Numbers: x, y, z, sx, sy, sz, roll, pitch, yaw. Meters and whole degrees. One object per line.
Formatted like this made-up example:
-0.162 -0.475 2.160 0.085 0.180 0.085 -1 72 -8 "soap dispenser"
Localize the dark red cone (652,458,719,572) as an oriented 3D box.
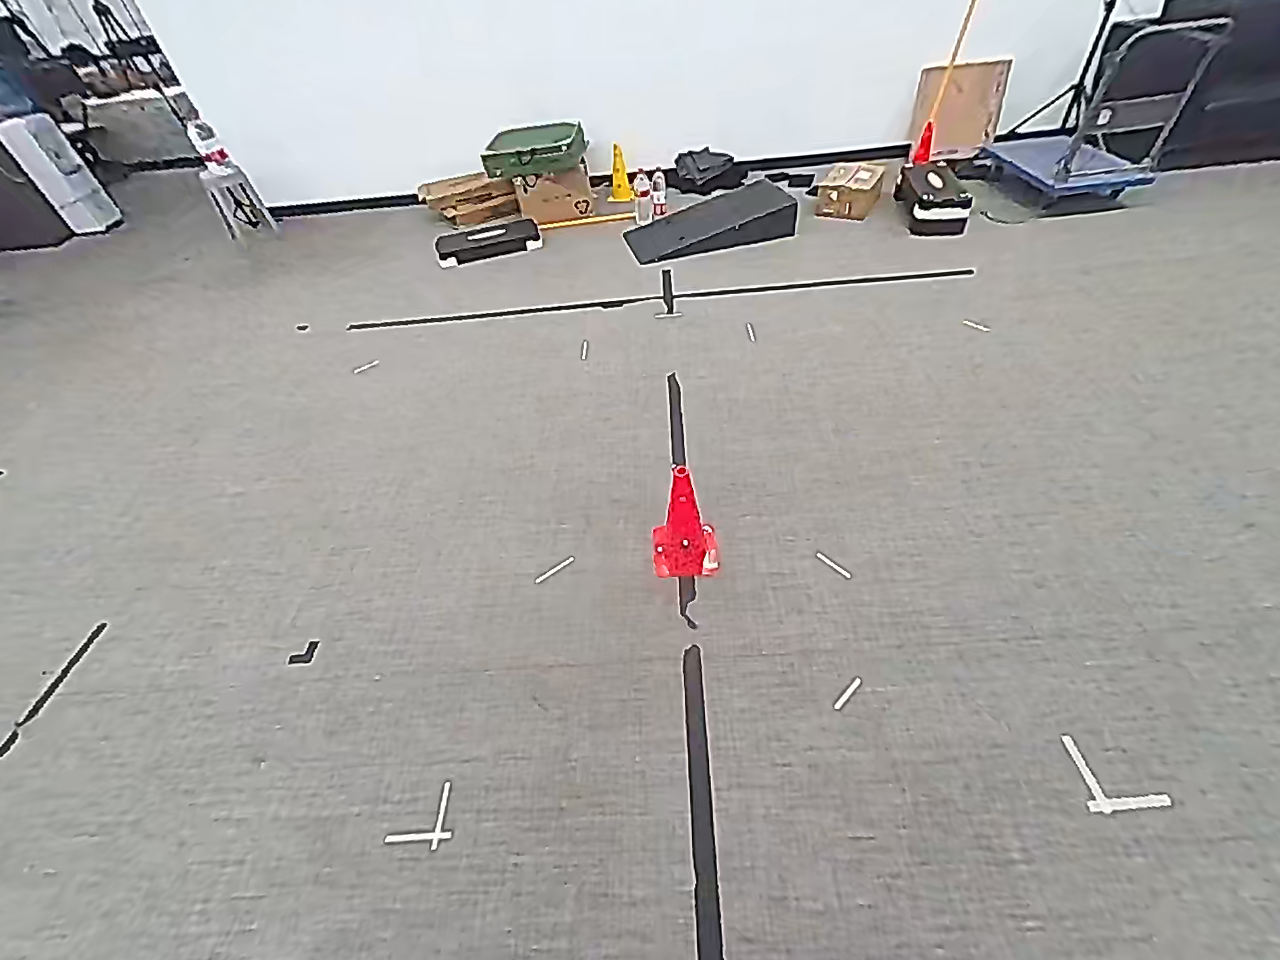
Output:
0.123 0.087 1.578 0.201 0.394 0.202 -5 46 4 "dark red cone"
